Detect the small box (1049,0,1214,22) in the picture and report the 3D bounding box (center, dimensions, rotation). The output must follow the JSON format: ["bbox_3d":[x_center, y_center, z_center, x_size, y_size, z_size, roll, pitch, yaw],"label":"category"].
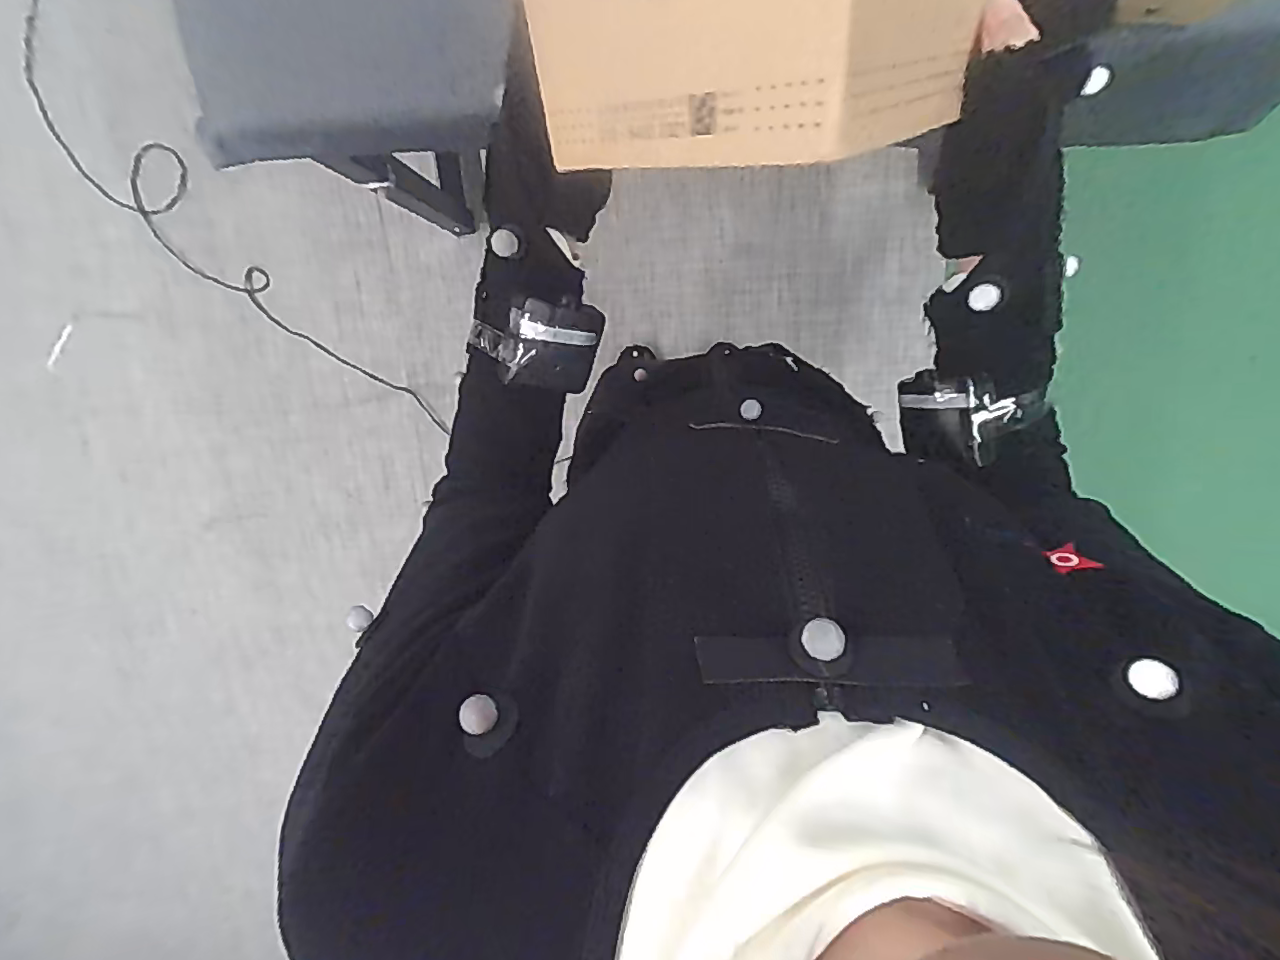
[{"bbox_3d":[0.488,-0.542,0.465,0.168,0.176,0.179,4,103,0],"label":"small box"}]

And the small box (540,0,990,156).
[{"bbox_3d":[0.060,-0.257,0.246,0.168,0.179,0.176,25,138,35],"label":"small box"}]
